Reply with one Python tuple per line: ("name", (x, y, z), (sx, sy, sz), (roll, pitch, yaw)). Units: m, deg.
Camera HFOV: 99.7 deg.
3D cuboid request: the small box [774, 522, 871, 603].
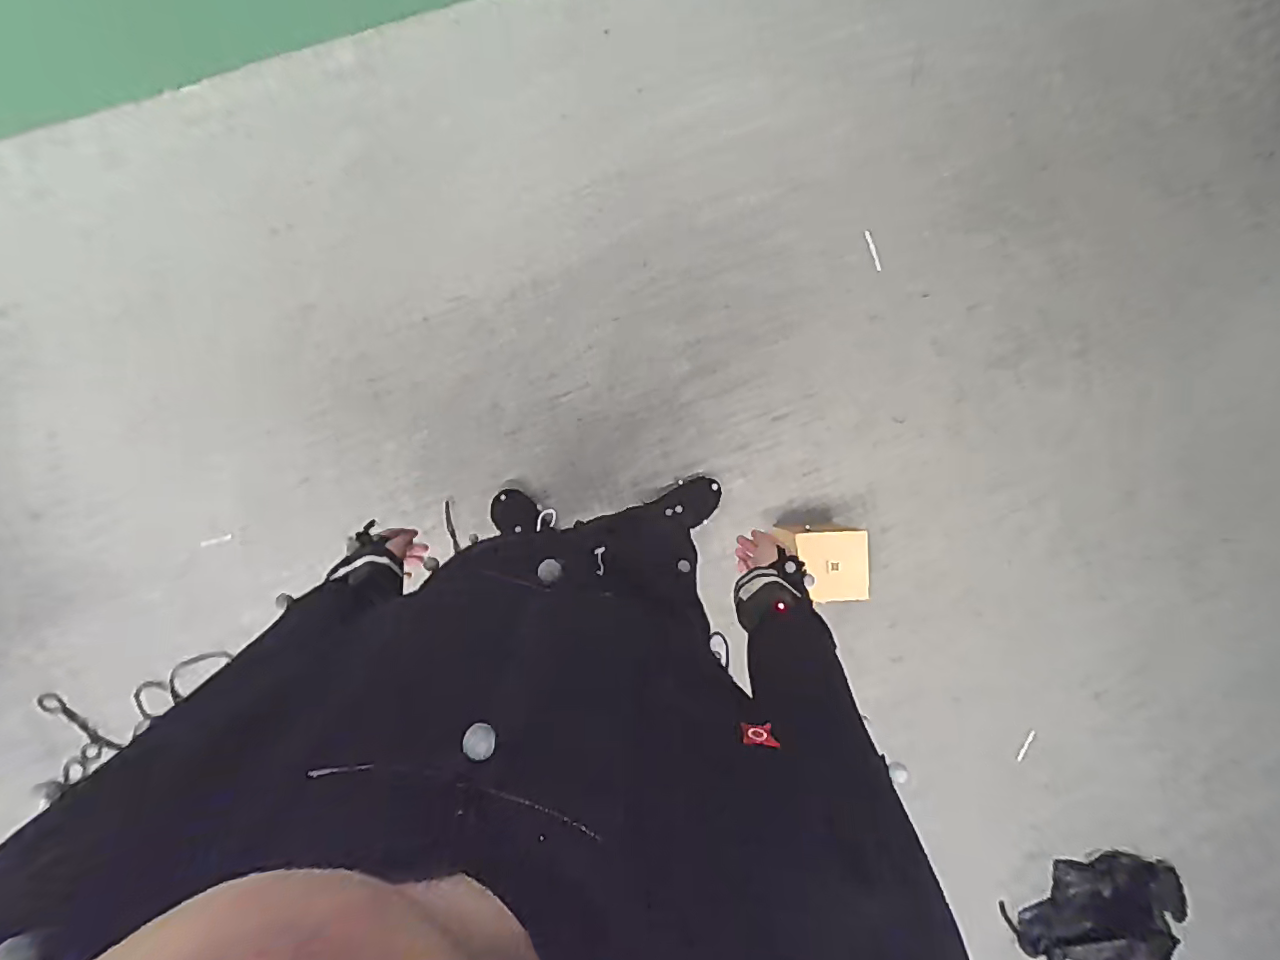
("small box", (0.444, 0.197, 1.332), (0.179, 0.176, 0.168), (-2, 92, -5))
